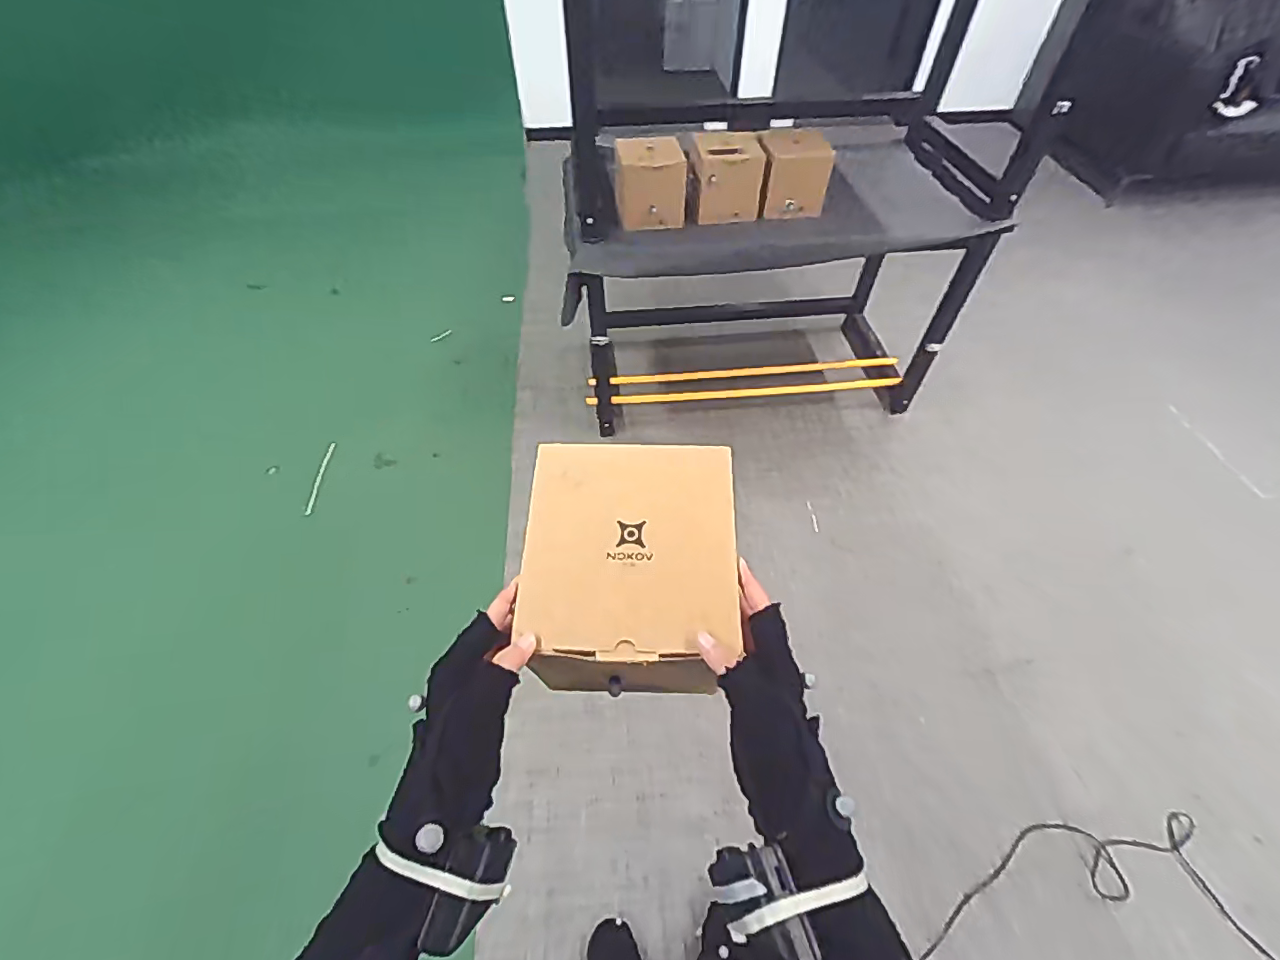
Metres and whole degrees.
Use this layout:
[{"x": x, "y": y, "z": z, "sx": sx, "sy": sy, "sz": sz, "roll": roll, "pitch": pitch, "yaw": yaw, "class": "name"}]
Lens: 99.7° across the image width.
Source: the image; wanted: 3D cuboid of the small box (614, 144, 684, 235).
[{"x": 0.018, "y": -0.786, "z": 1.466, "sx": 0.168, "sy": 0.176, "sz": 0.179, "roll": -6, "pitch": 51, "yaw": -5, "class": "small box"}]
